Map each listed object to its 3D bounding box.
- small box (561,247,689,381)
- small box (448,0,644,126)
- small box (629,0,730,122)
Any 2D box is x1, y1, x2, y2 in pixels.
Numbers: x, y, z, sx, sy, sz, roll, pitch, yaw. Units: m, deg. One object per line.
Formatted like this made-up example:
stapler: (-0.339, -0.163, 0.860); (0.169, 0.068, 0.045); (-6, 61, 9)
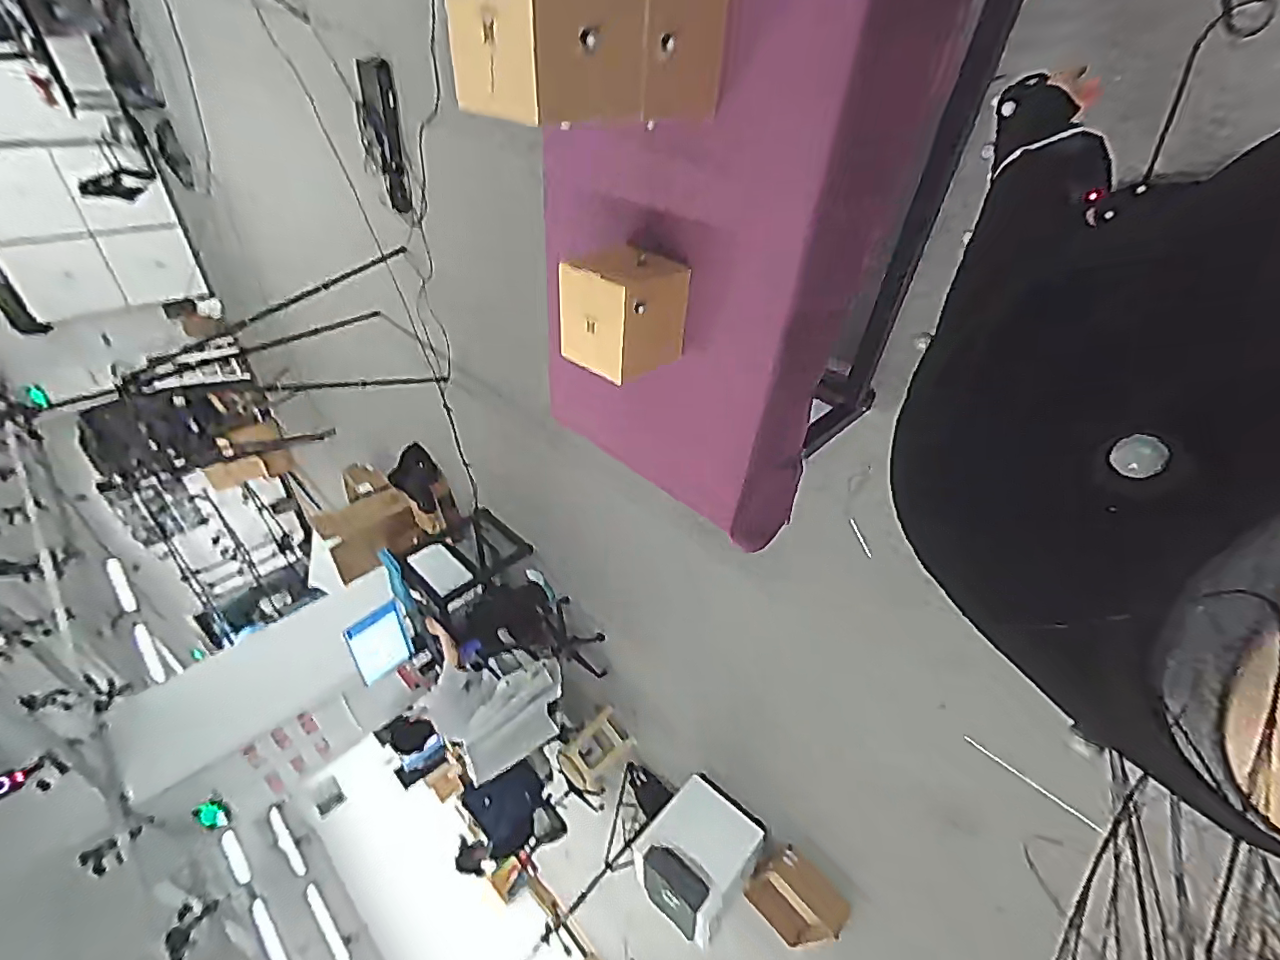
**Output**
small box: (-0.027, -0.311, 0.997); (0.168, 0.176, 0.179); (32, 135, 31)
small box: (-0.109, -0.543, 0.650); (0.168, 0.176, 0.179); (32, 137, 30)
small box: (0.004, -0.611, 0.747); (0.168, 0.176, 0.179); (33, 136, 30)
